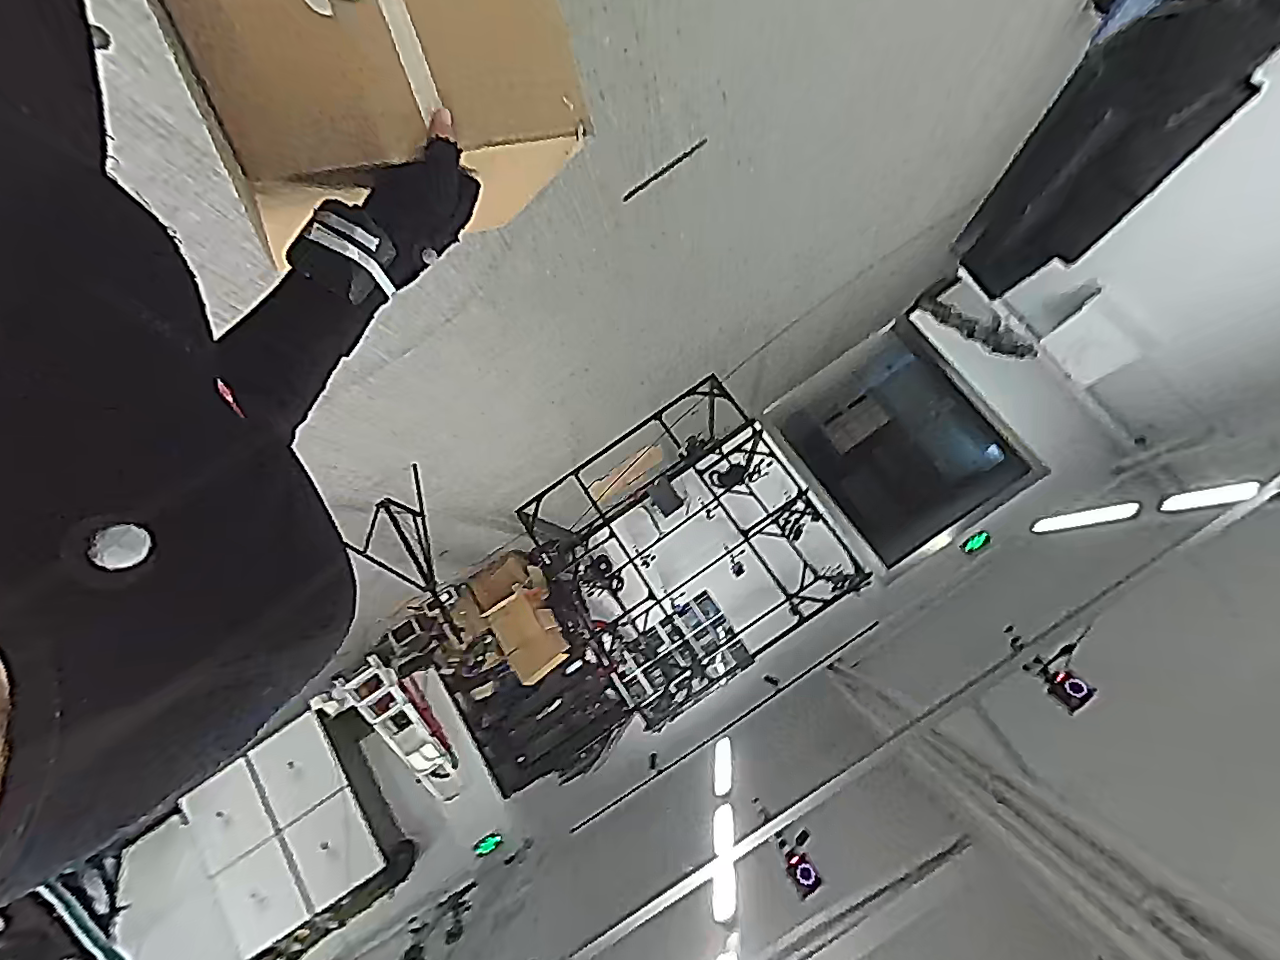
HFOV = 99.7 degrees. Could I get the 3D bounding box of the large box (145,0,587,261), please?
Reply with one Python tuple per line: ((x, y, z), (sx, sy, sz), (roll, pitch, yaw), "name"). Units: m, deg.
((-0.311, -0.490, 0.552), (0.320, 0.408, 0.320), (-26, -160, -25), "large box")
